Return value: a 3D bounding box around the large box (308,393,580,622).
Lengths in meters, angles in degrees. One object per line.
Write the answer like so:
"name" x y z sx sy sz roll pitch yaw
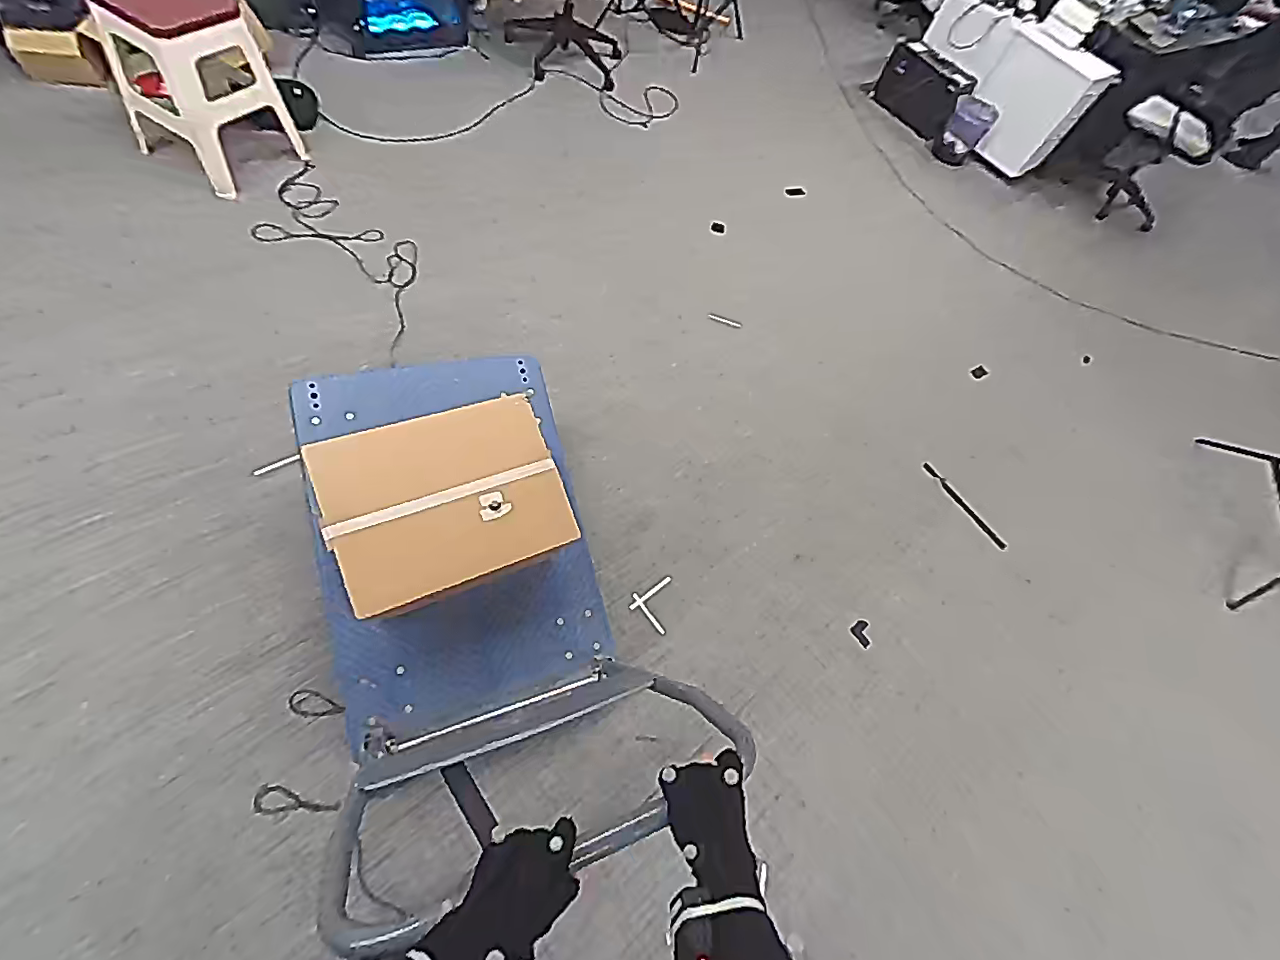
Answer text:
"large box" -0.393 0.066 1.119 0.408 0.320 0.320 -20 83 -25
